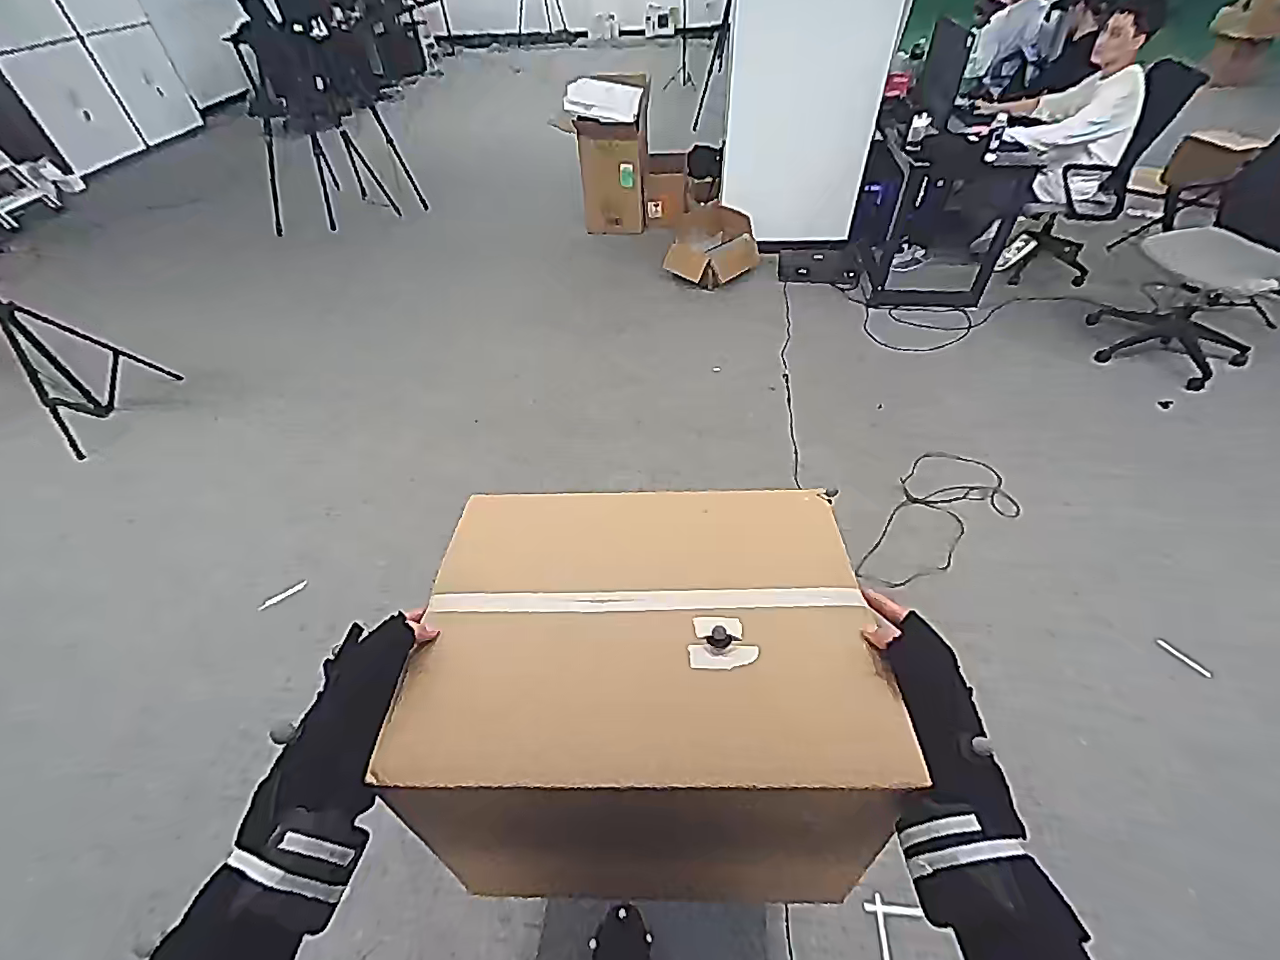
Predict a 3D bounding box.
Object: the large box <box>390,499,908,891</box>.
[{"bbox_3d":[0.009,0.237,0.614,0.408,0.320,0.320,0,40,2],"label":"large box"}]
